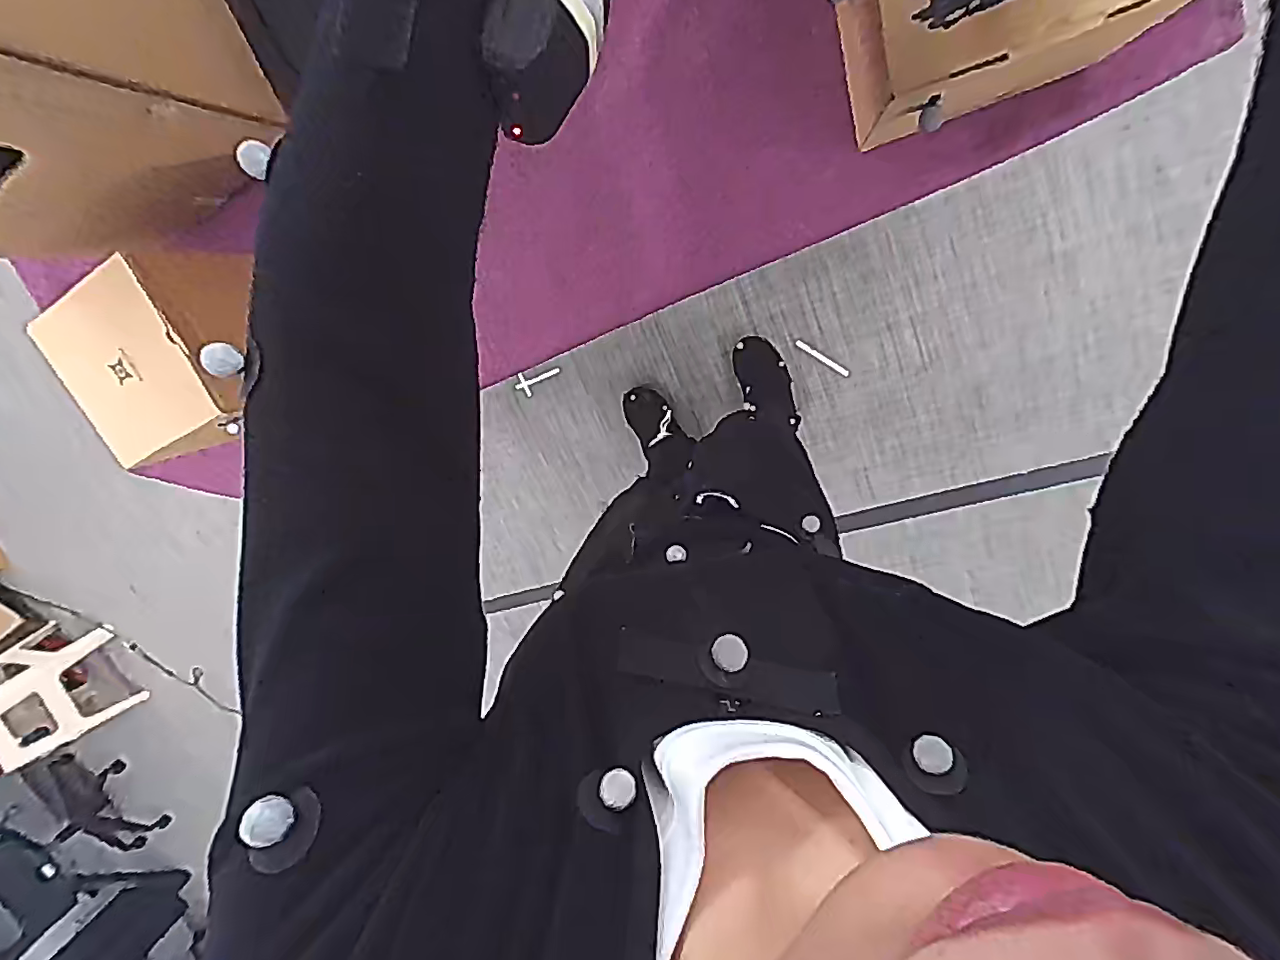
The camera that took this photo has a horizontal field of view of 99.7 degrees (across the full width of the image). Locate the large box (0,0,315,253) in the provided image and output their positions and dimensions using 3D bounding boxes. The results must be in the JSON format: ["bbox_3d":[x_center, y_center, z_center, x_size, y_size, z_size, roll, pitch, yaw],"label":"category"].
[{"bbox_3d":[-0.584,-0.445,0.436,0.320,0.320,0.408,-19,108,21],"label":"large box"}]

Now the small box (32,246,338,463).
[{"bbox_3d":[-0.494,-0.142,0.611,0.179,0.176,0.168,-20,104,20],"label":"small box"}]
